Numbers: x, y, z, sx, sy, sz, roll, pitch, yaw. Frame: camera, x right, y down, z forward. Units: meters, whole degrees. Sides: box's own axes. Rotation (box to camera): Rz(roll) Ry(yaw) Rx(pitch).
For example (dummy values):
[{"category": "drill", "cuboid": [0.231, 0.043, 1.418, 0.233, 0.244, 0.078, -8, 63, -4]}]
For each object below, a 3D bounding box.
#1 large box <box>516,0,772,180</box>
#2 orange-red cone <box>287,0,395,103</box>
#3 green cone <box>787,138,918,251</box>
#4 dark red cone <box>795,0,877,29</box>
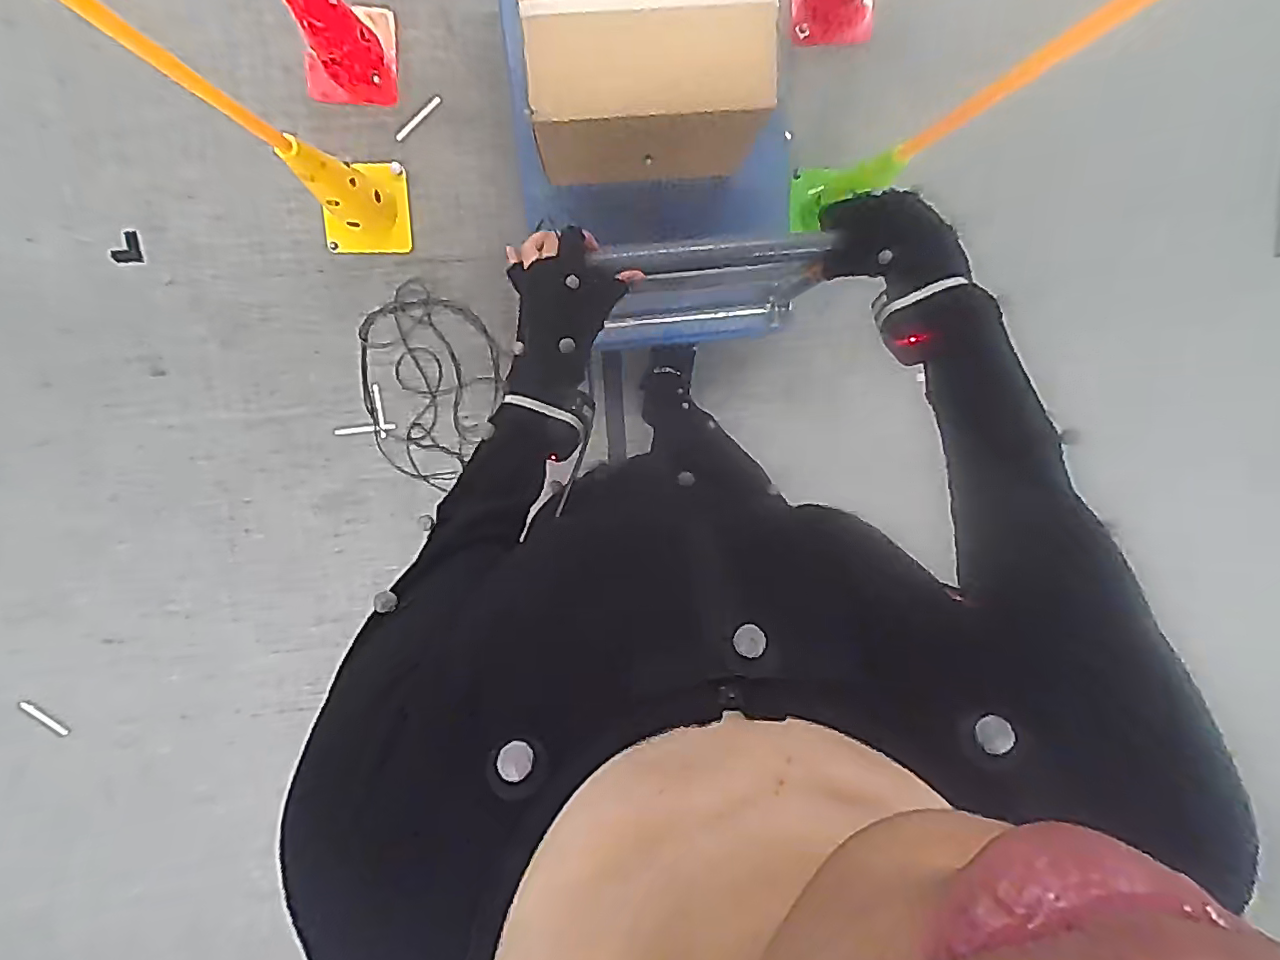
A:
[{"category": "large box", "cuboid": [-0.001, -0.779, 0.996, 0.408, 0.320, 0.320, -5, 101, -2]}, {"category": "orange-red cone", "cuboid": [-0.646, -0.948, 1.063, 0.198, 0.360, 0.199, 2, 99, -6]}, {"category": "green cone", "cuboid": [0.488, -0.658, 1.203, 0.202, 0.368, 0.200, -2, 100, -5]}, {"category": "dark red cone", "cuboid": [0.473, -1.131, 1.097, 0.201, 0.394, 0.202, -6, 101, -5]}]
